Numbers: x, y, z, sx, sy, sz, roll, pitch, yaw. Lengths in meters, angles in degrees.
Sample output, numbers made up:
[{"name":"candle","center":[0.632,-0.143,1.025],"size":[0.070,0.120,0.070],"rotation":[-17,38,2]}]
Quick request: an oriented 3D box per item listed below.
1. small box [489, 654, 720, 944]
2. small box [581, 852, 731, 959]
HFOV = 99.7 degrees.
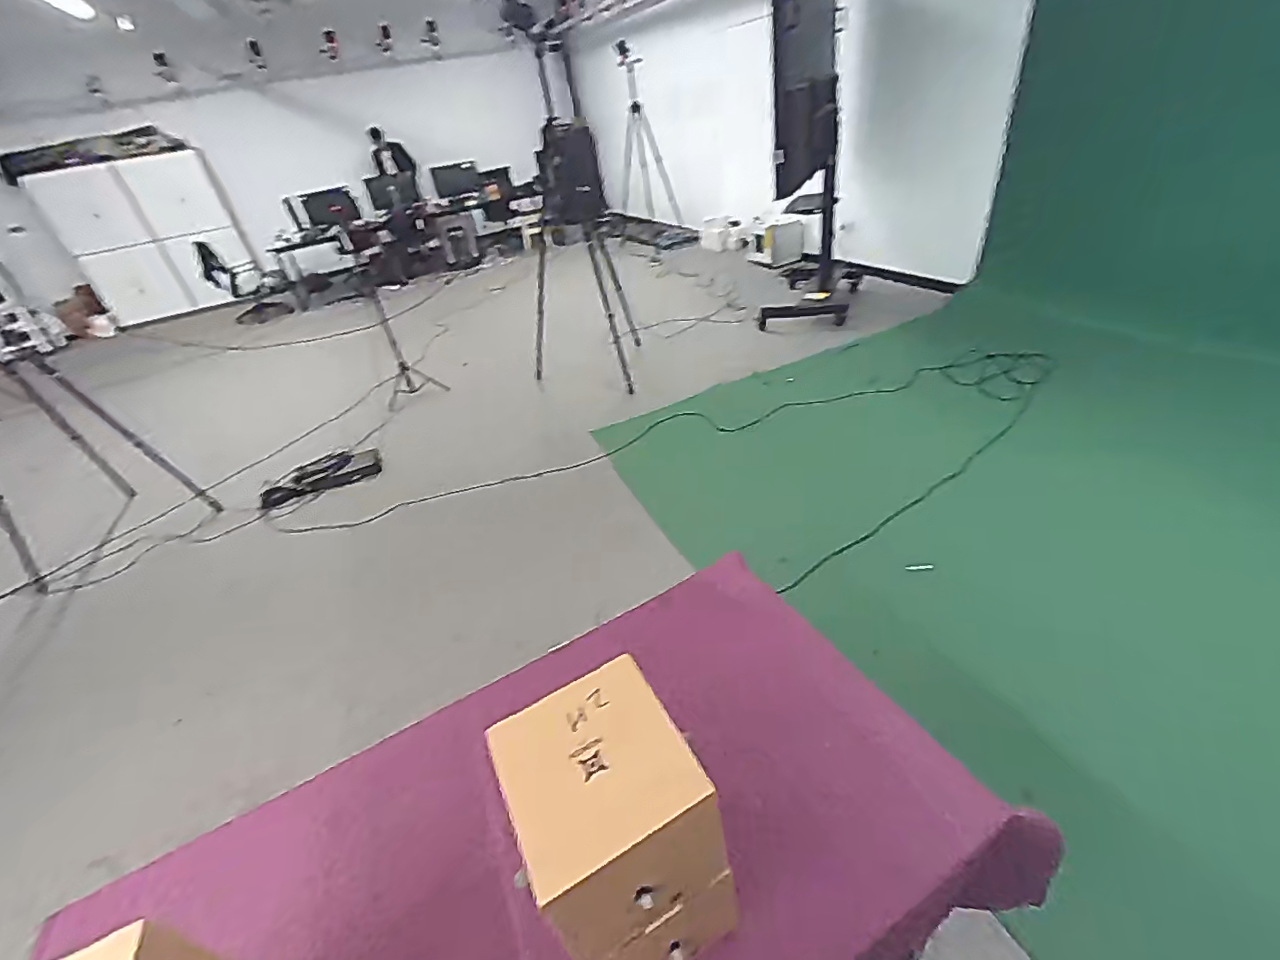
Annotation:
[{"name":"small box","center":[-0.032,0.324,0.552],"size":[0.168,0.176,0.179],"rotation":[-23,37,-18]},{"name":"small box","center":[-0.004,0.456,0.649],"size":[0.168,0.176,0.179],"rotation":[-23,38,-18]}]
